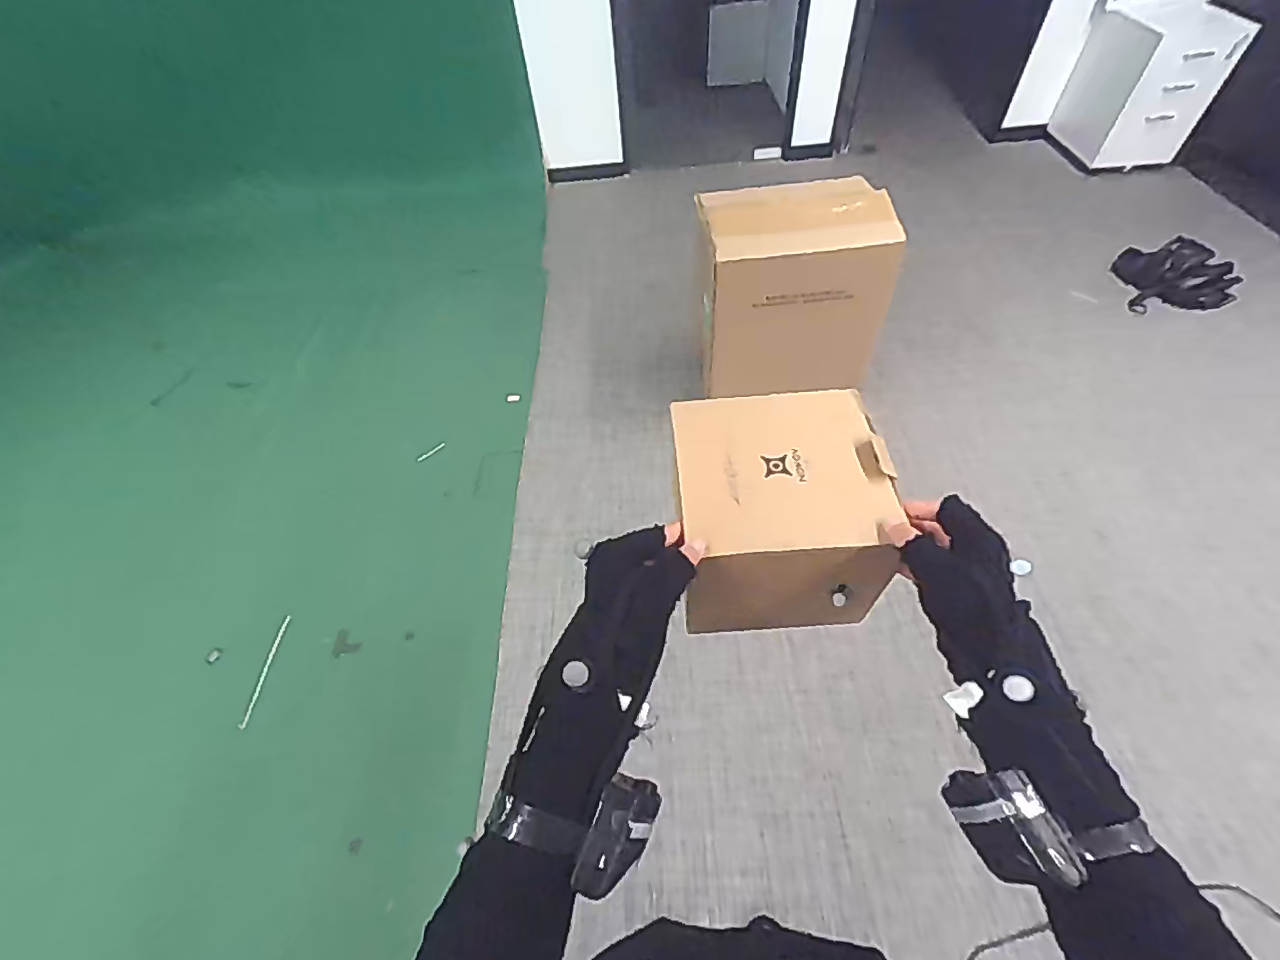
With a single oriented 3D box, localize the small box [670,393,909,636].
[{"bbox_3d":[0.124,0.039,0.525,0.179,0.176,0.168,-6,53,3],"label":"small box"}]
